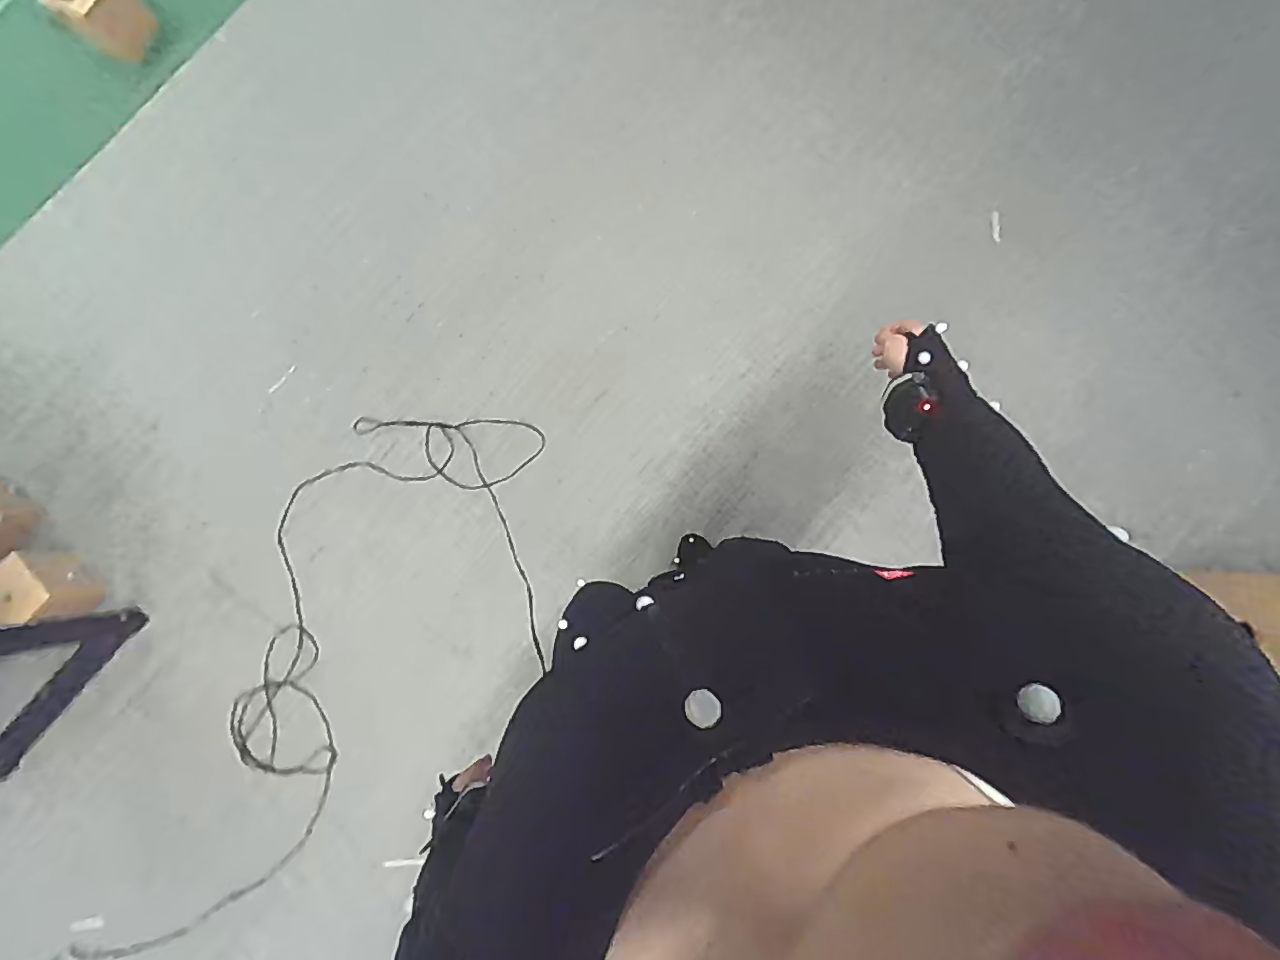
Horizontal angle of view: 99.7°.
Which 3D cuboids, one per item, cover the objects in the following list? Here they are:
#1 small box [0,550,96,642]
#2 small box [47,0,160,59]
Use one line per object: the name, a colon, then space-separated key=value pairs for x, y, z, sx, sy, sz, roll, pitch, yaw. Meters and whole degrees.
small box: x=-1.632 y=0.303 z=1.449 sx=0.179 sy=0.176 sz=0.168 roll=-45 pitch=84 yaw=-3
small box: x=-1.647 y=-1.455 z=1.662 sx=0.168 sy=0.176 sz=0.179 roll=25 pitch=83 yaw=4
